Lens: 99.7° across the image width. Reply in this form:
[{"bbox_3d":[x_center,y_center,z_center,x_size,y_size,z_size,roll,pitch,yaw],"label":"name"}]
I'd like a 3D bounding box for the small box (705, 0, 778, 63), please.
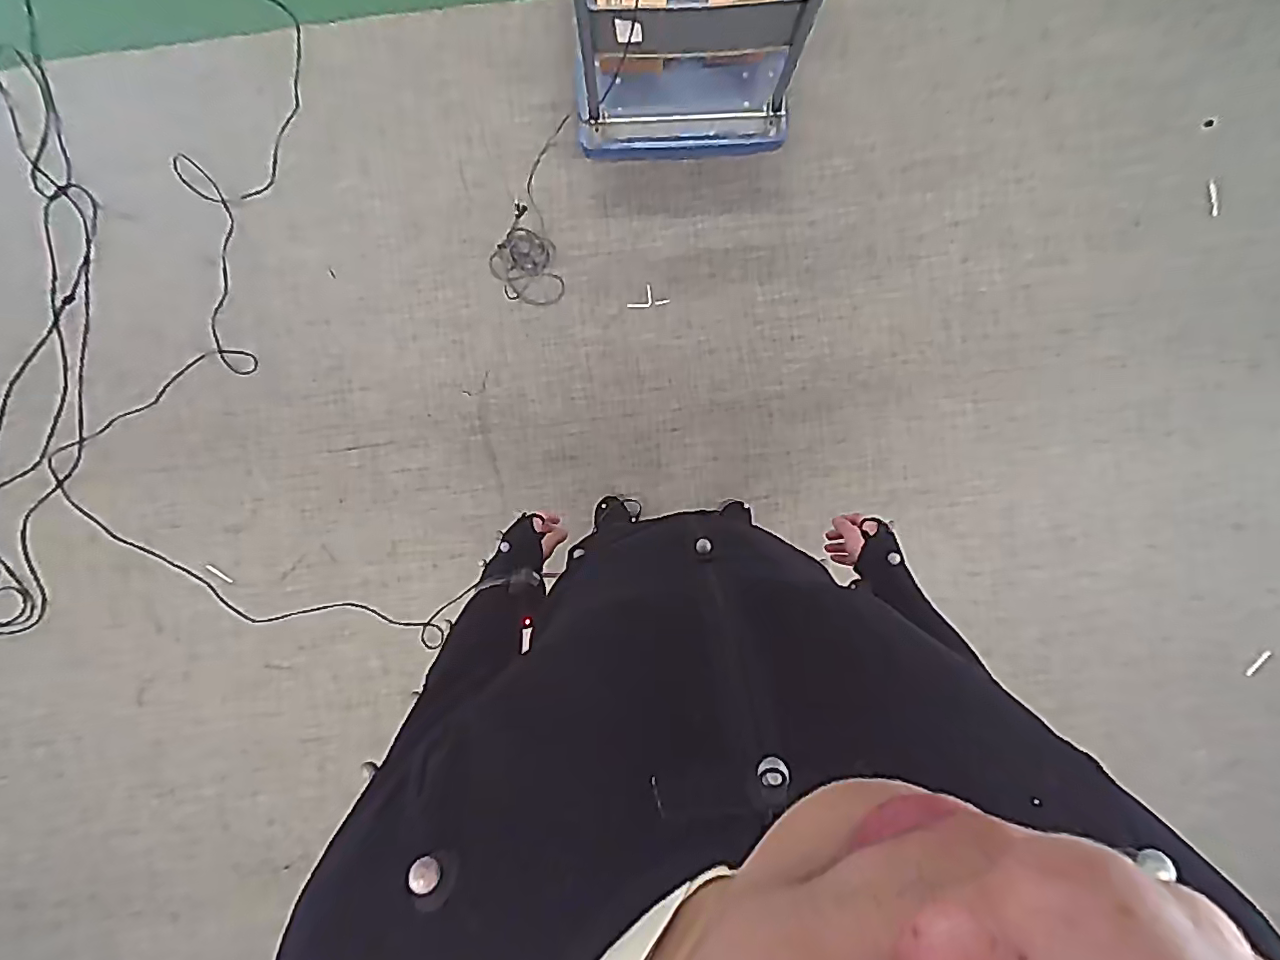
[{"bbox_3d":[0.258,-1.234,1.403,0.168,0.176,0.179,-1,90,1],"label":"small box"}]
